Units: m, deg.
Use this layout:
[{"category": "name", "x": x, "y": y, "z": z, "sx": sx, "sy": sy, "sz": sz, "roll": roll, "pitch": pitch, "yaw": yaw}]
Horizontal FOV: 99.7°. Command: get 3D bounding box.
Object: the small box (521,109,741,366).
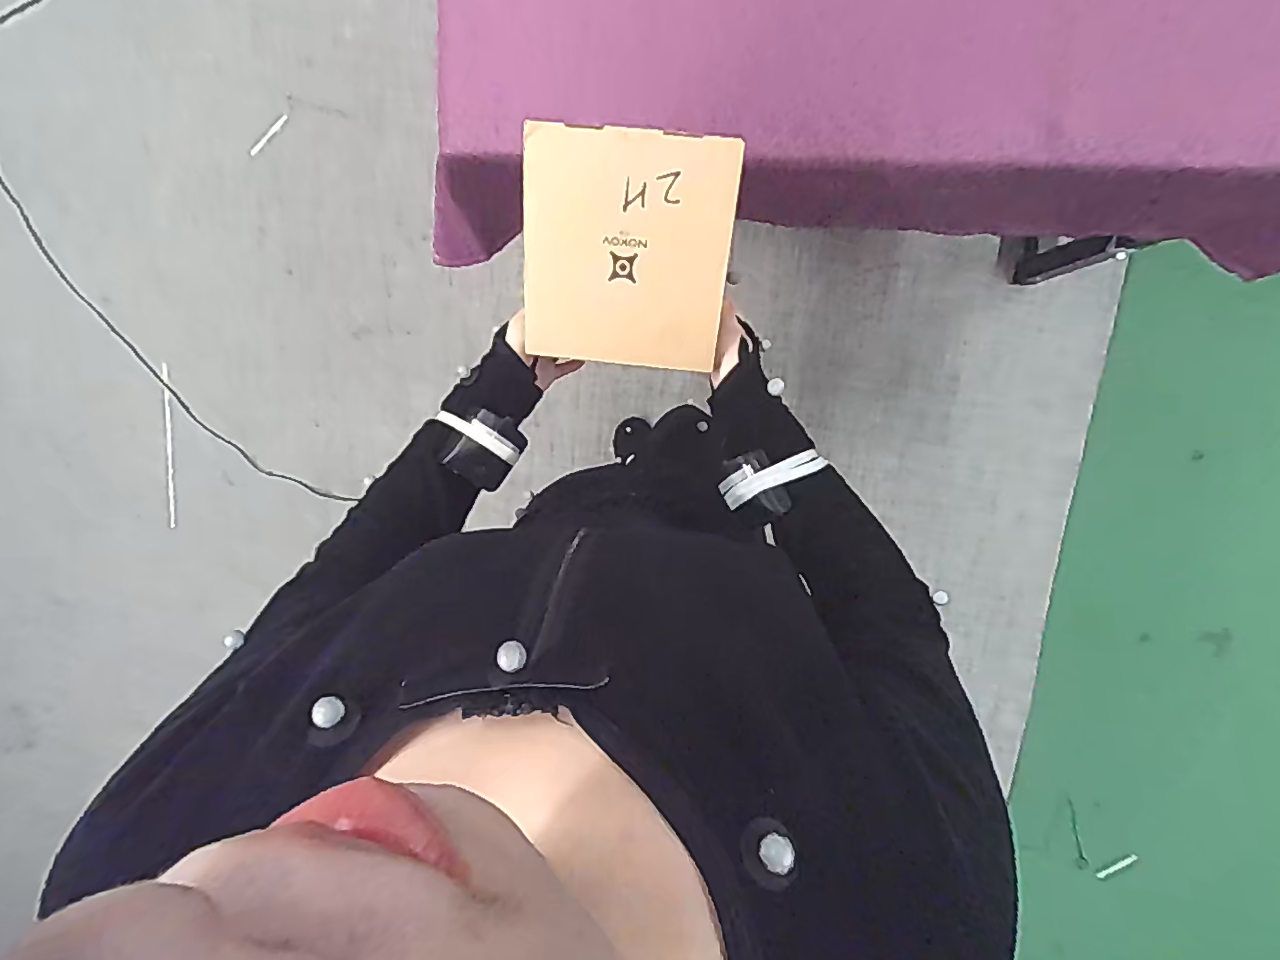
[{"category": "small box", "x": -0.007, "y": -0.218, "z": 0.504, "sx": 0.168, "sy": 0.176, "sz": 0.179, "roll": 7, "pitch": 114, "yaw": 2}]
